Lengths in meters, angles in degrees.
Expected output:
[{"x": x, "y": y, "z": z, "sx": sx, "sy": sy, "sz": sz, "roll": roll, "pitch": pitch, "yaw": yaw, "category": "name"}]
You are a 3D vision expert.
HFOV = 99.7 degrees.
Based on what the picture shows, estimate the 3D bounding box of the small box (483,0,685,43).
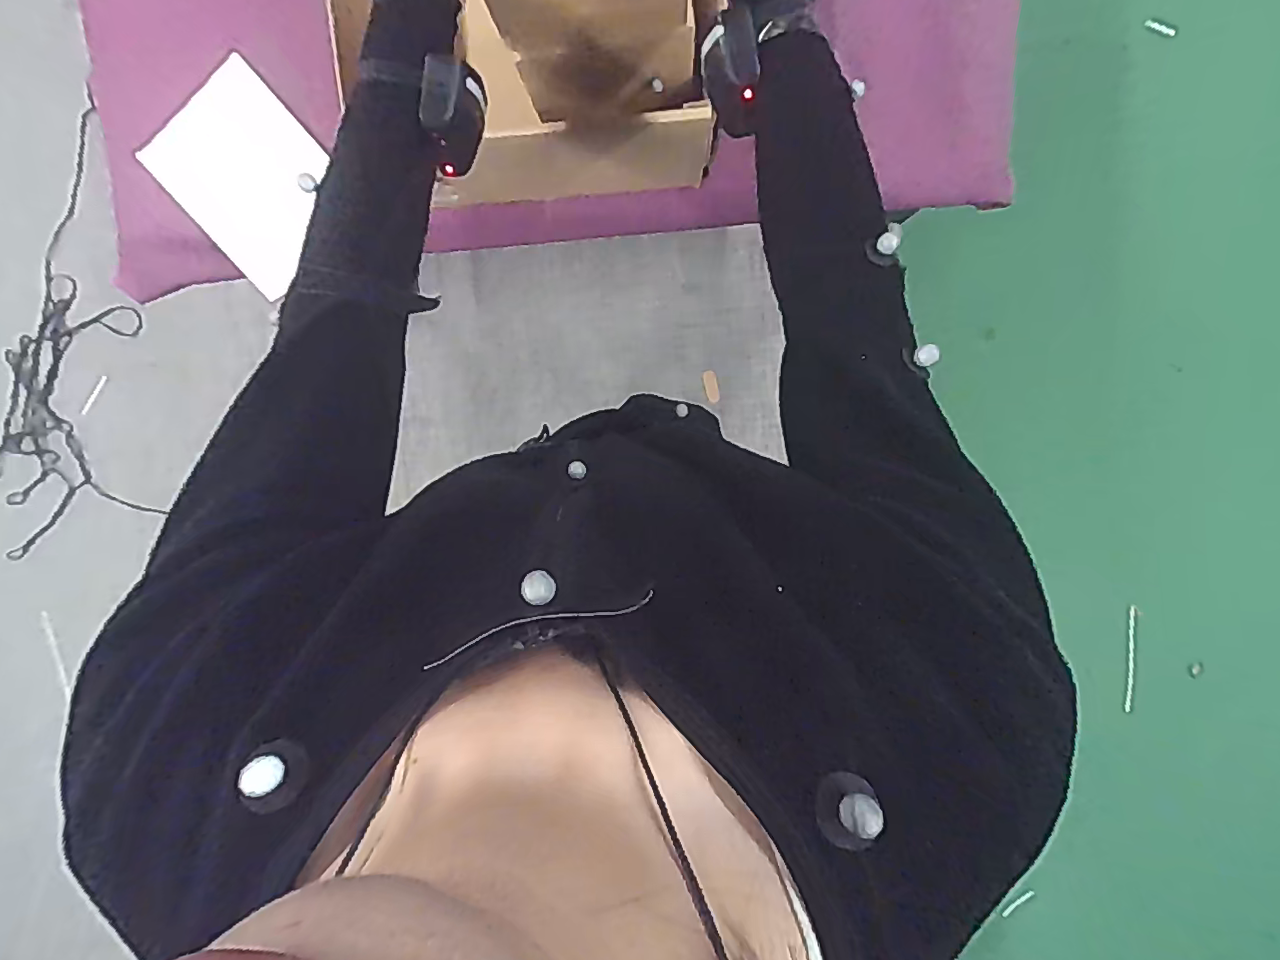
[{"x": -0.053, "y": -0.476, "z": 0.411, "sx": 0.179, "sy": 0.176, "sz": 0.168, "roll": -3, "pitch": 96, "yaw": 2, "category": "small box"}]
